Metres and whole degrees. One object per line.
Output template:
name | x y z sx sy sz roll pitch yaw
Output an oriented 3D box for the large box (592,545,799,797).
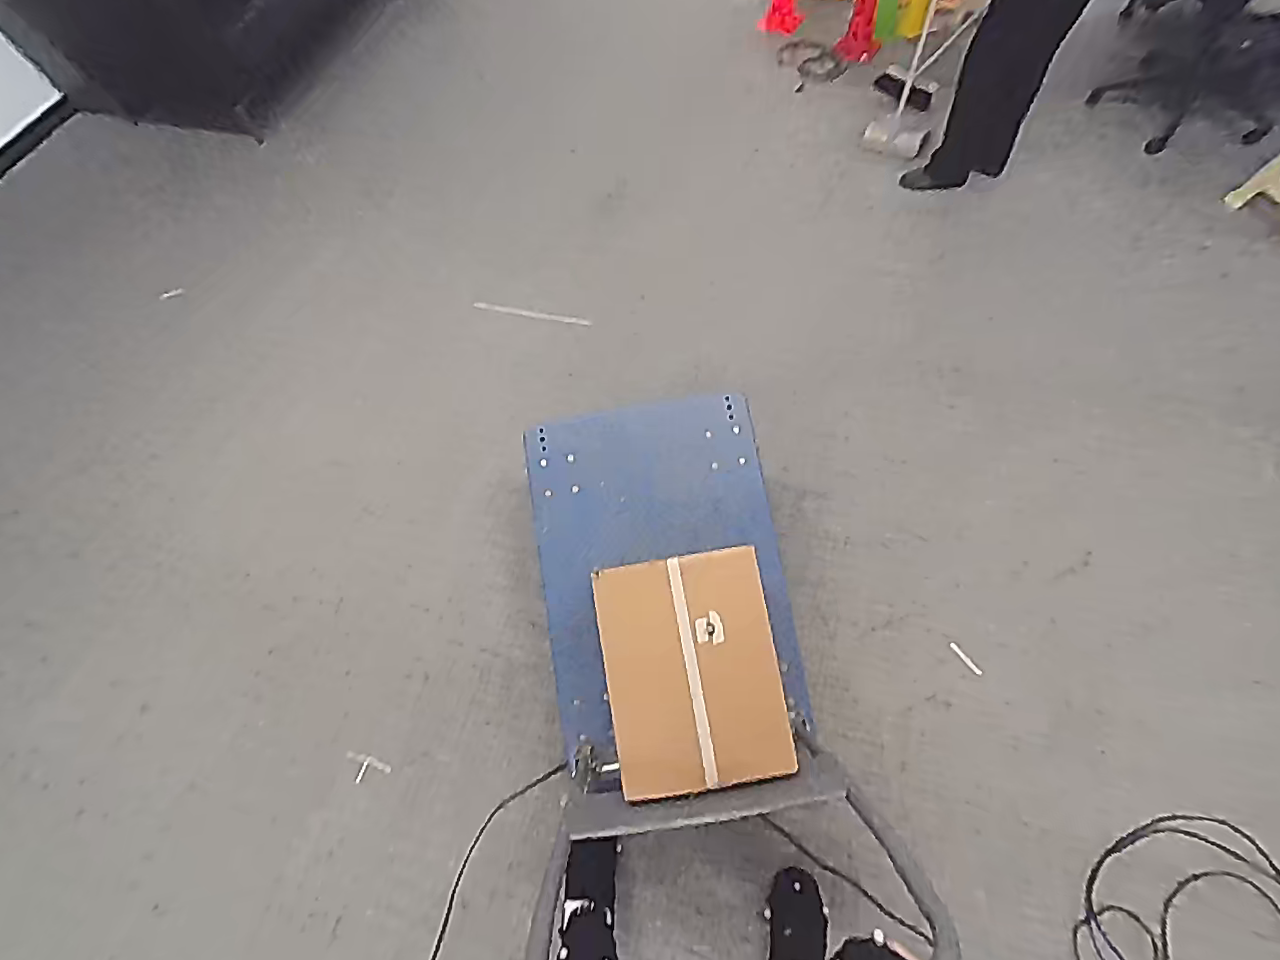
large box | 0.102 0.368 1.134 0.320 0.320 0.408 -11 80 -1
